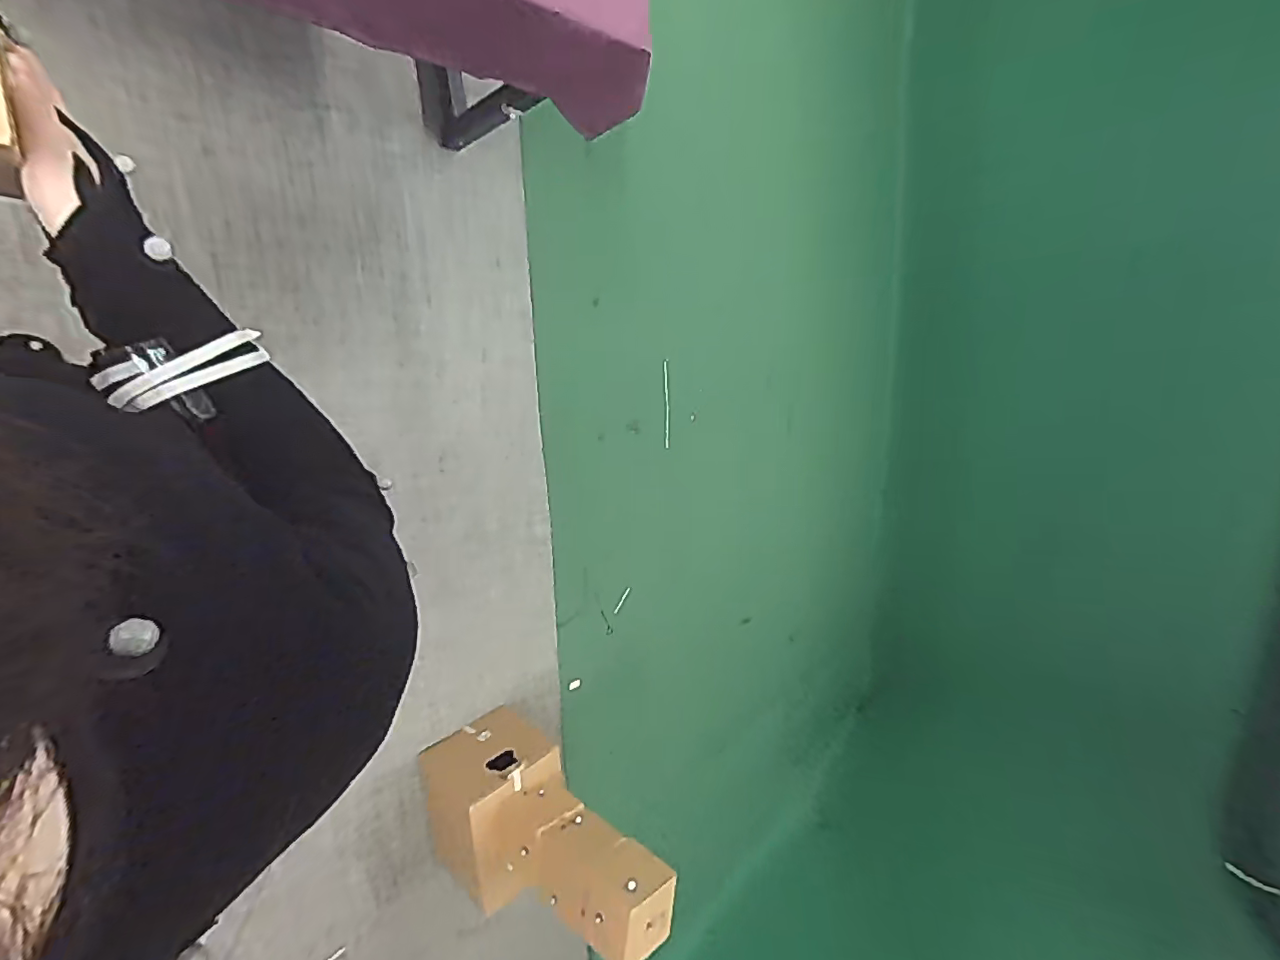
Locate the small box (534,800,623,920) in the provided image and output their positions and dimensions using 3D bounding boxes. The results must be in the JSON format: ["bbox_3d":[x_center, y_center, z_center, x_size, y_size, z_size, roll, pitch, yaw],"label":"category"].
[{"bbox_3d":[-0.170,1.020,1.468,0.168,0.176,0.179,3,95,-49],"label":"small box"}]

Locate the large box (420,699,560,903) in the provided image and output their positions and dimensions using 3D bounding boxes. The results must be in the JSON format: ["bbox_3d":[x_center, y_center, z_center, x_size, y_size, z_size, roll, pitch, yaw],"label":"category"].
[{"bbox_3d":[-0.471,1.006,1.743,0.320,0.320,0.408,-17,111,-44],"label":"large box"}]

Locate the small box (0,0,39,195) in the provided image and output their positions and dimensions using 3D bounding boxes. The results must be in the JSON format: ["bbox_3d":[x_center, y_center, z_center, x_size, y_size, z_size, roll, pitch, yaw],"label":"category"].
[{"bbox_3d":[-0.438,-0.266,0.270,0.168,0.176,0.179,-10,109,-44],"label":"small box"}]

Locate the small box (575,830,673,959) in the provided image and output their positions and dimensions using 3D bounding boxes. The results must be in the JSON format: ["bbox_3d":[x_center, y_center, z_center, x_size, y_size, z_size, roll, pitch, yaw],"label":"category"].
[{"bbox_3d":[-0.044,1.037,1.364,0.179,0.176,0.168,4,95,-48],"label":"small box"}]

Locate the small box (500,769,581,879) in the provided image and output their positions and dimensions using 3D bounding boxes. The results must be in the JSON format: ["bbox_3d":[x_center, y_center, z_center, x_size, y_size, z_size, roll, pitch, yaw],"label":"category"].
[{"bbox_3d":[-0.292,0.989,1.572,0.168,0.176,0.179,-2,99,-47],"label":"small box"}]
